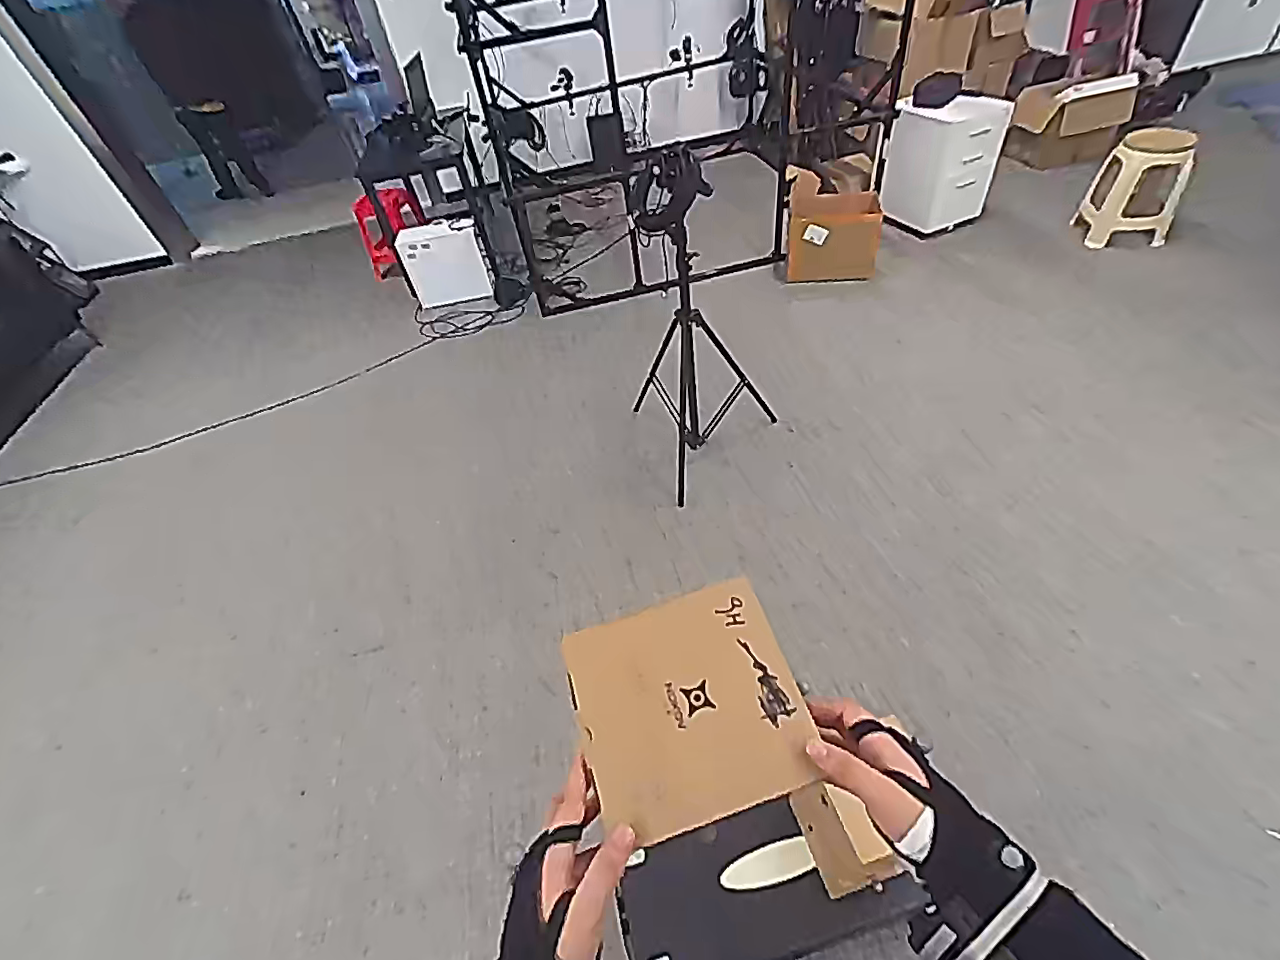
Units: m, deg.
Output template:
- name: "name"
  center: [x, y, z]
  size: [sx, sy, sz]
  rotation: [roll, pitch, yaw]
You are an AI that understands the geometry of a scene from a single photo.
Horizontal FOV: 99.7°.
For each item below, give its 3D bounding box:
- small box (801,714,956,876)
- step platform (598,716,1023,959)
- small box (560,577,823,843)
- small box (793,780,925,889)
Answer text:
- name: "small box"
  center: [0.386, 0.535, 0.918]
  size: [0.168, 0.176, 0.179]
  rotation: [-17, 47, -5]
- name: "step platform"
  center: [0.279, 0.688, 0.971]
  size: [0.684, 0.204, 0.286]
  rotation: [-15, 45, -5]
- name: "small box"
  center: [0.042, 0.218, 0.504]
  size: [0.179, 0.176, 0.168]
  rotation: [-17, 58, -5]
- name: "small box"
  center: [0.400, 0.652, 1.033]
  size: [0.168, 0.176, 0.179]
  rotation: [-17, 46, -5]
